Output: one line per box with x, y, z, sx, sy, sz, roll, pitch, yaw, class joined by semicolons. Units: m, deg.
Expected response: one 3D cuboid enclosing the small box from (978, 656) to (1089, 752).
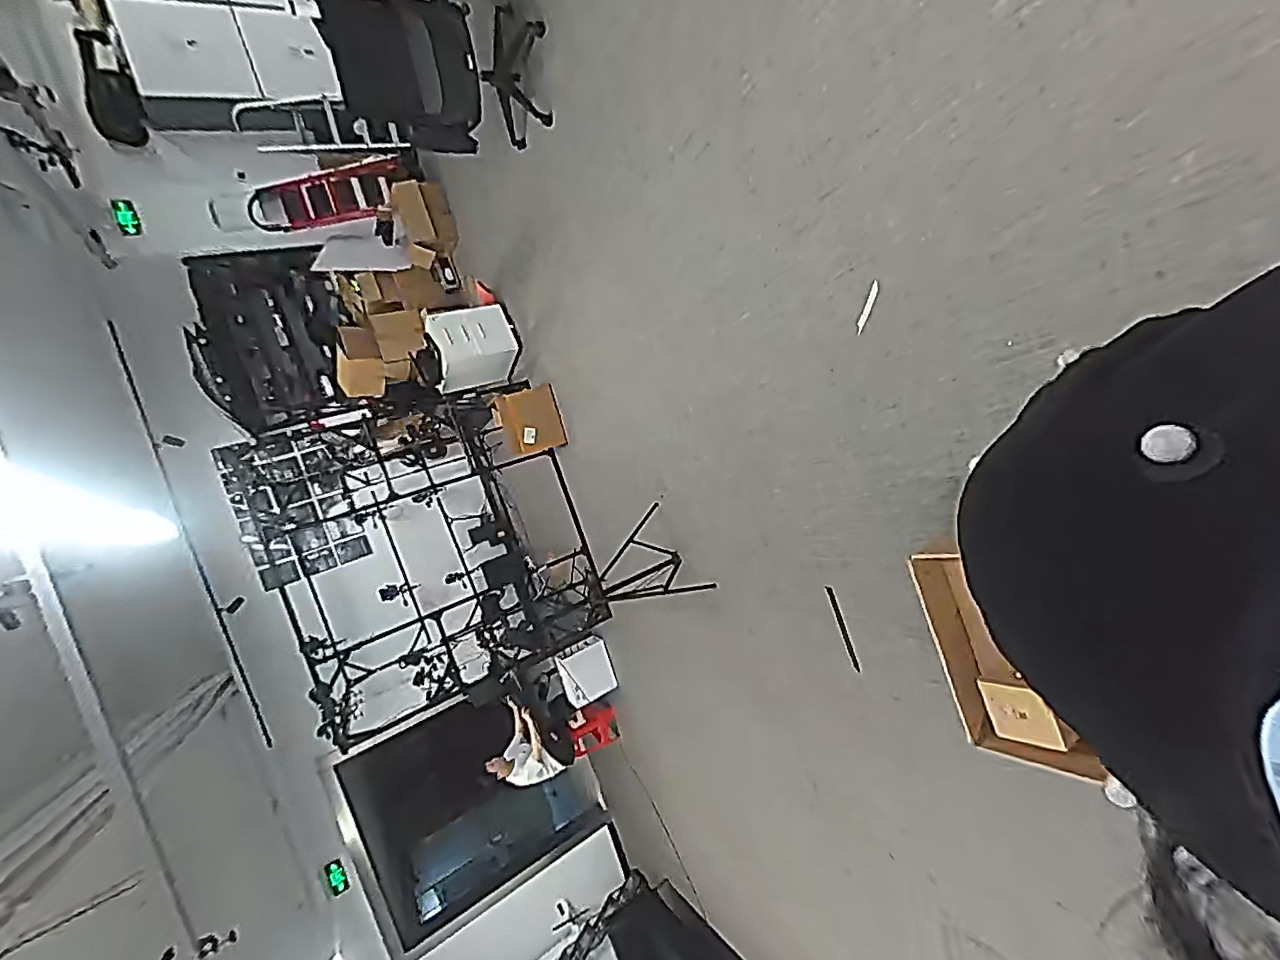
1.067;0.593;1.458;0.179;0.176;0.168;-20;89;62;small box
